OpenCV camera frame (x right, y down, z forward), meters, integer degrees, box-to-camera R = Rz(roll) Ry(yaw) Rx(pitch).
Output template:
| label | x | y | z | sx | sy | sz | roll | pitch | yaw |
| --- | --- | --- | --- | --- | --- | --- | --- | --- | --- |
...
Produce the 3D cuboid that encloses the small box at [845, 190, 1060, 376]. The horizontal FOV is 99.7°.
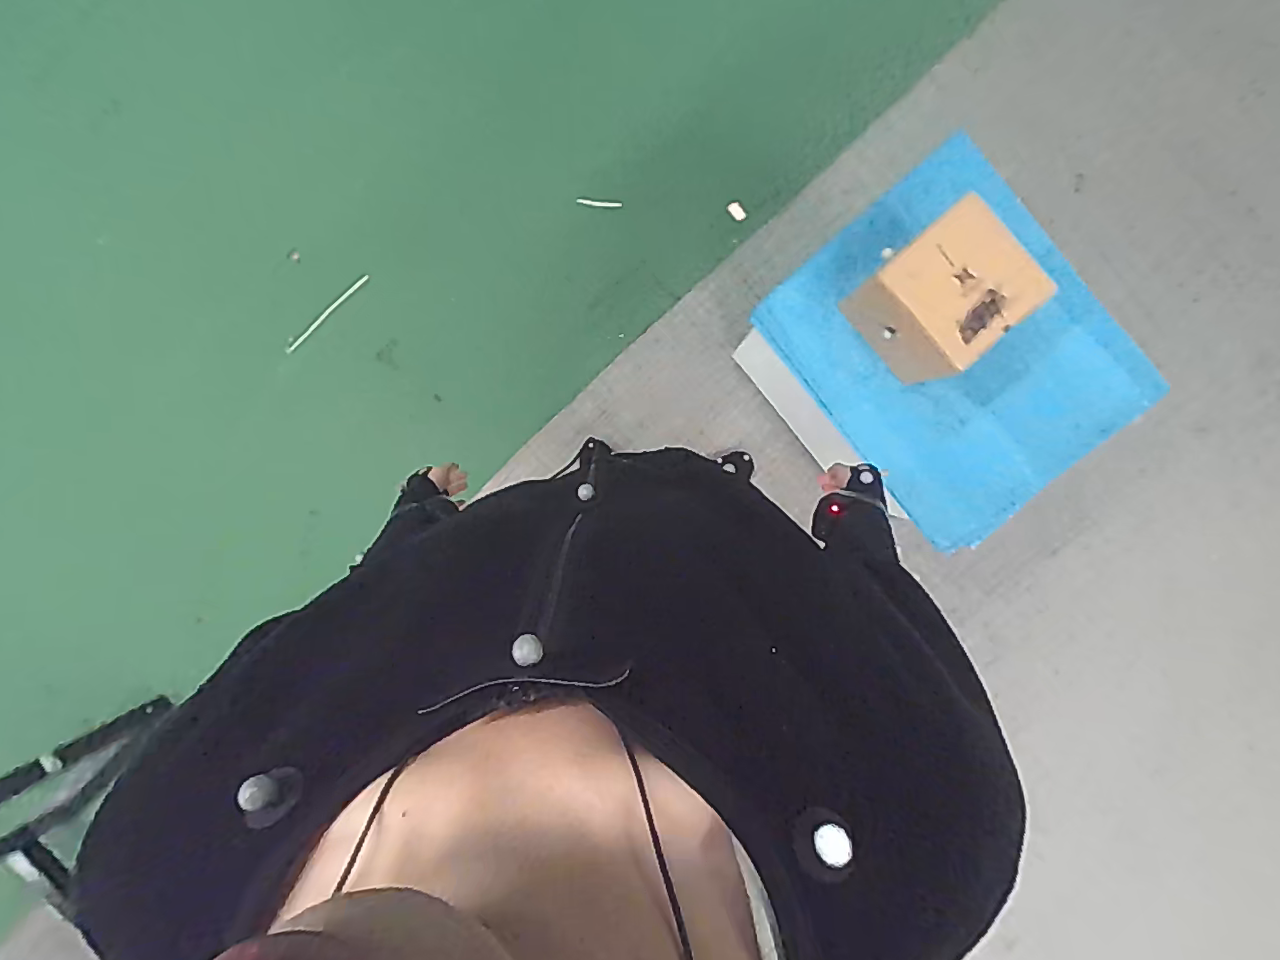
| label | x | y | z | sx | sy | sz | roll | pitch | yaw |
| --- | --- | --- | --- | --- | --- | --- | --- | --- | --- |
| small box | 0.437 | -0.268 | 0.788 | 0.168 | 0.176 | 0.179 | -41 | 91 | 4 |
